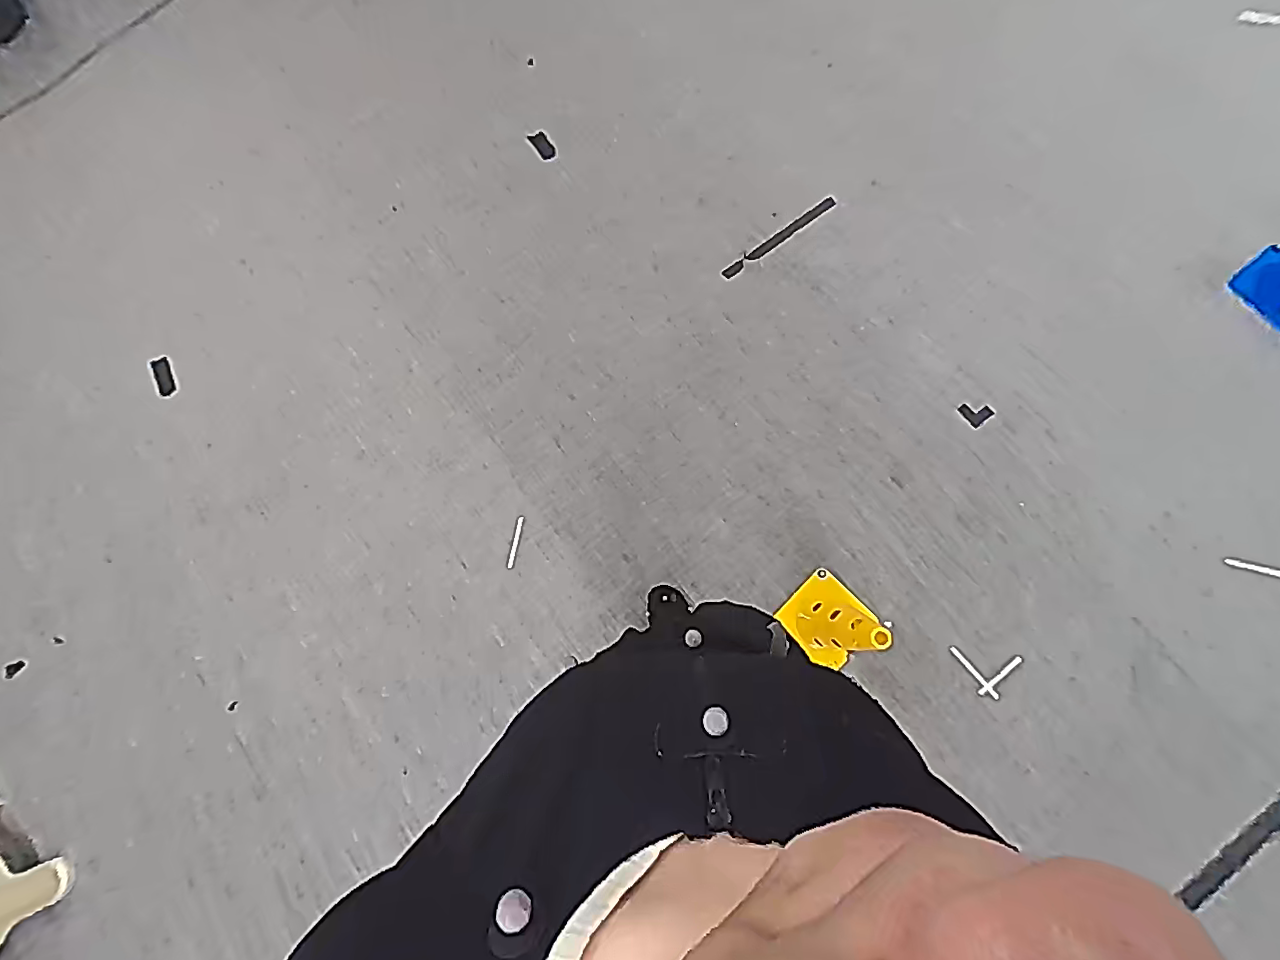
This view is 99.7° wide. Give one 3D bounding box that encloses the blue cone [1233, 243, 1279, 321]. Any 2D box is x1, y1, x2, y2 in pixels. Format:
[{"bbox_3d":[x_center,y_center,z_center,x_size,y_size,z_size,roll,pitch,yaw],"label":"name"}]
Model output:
[{"bbox_3d":[1.711,-0.557,1.286,0.193,0.380,0.192,-37,79,-5],"label":"blue cone"}]
